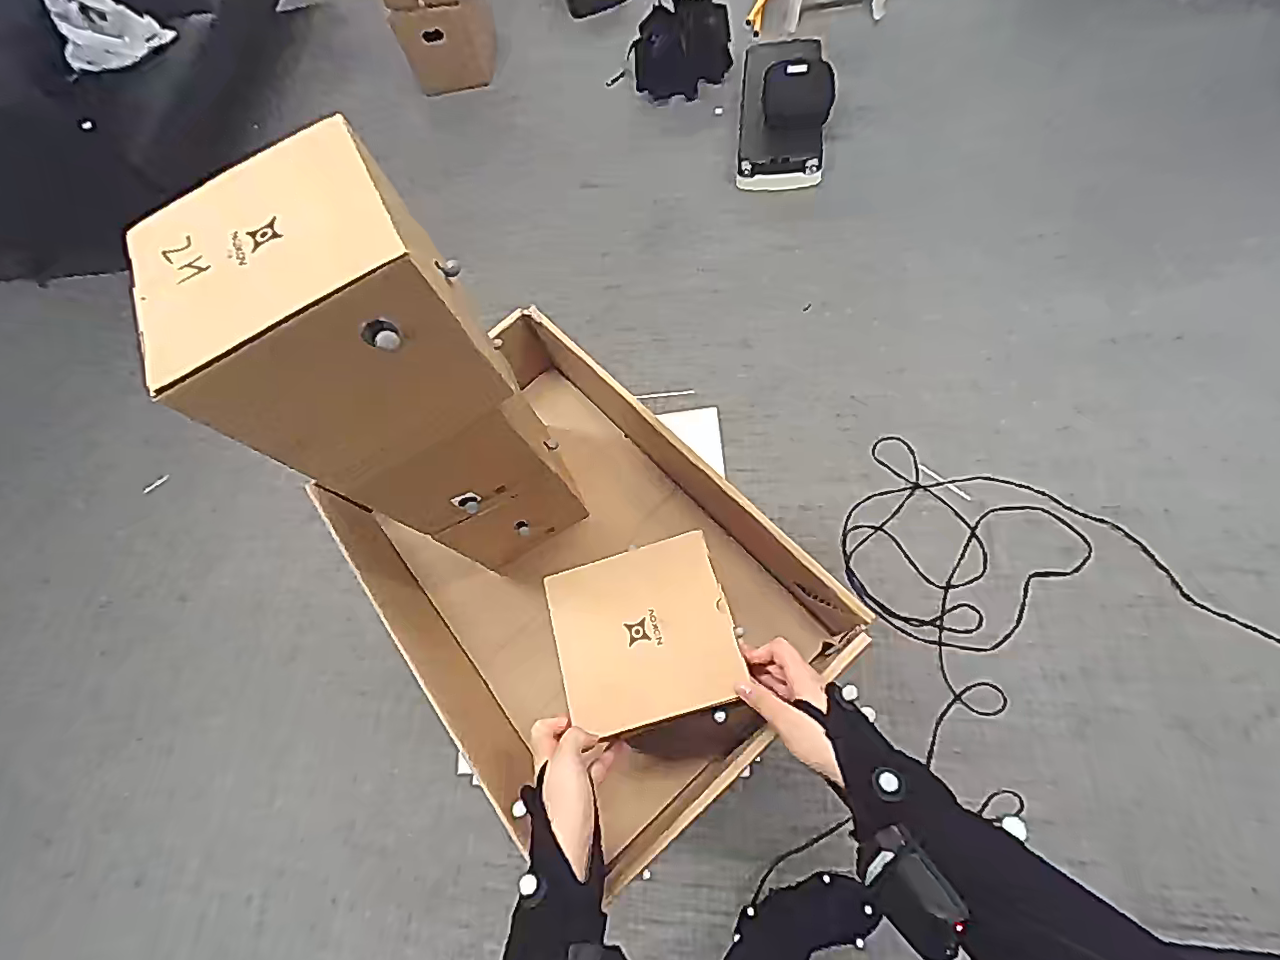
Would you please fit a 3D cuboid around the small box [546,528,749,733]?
[{"bbox_3d":[0.015,0.177,0.608,0.179,0.176,0.168,-17,65,2],"label":"small box"}]

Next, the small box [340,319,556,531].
[{"bbox_3d":[-0.216,-0.070,0.595,0.168,0.176,0.179,-28,66,1],"label":"small box"}]

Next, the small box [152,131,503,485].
[{"bbox_3d":[-0.233,-0.125,0.440,0.179,0.176,0.168,-31,64,-1],"label":"small box"}]
